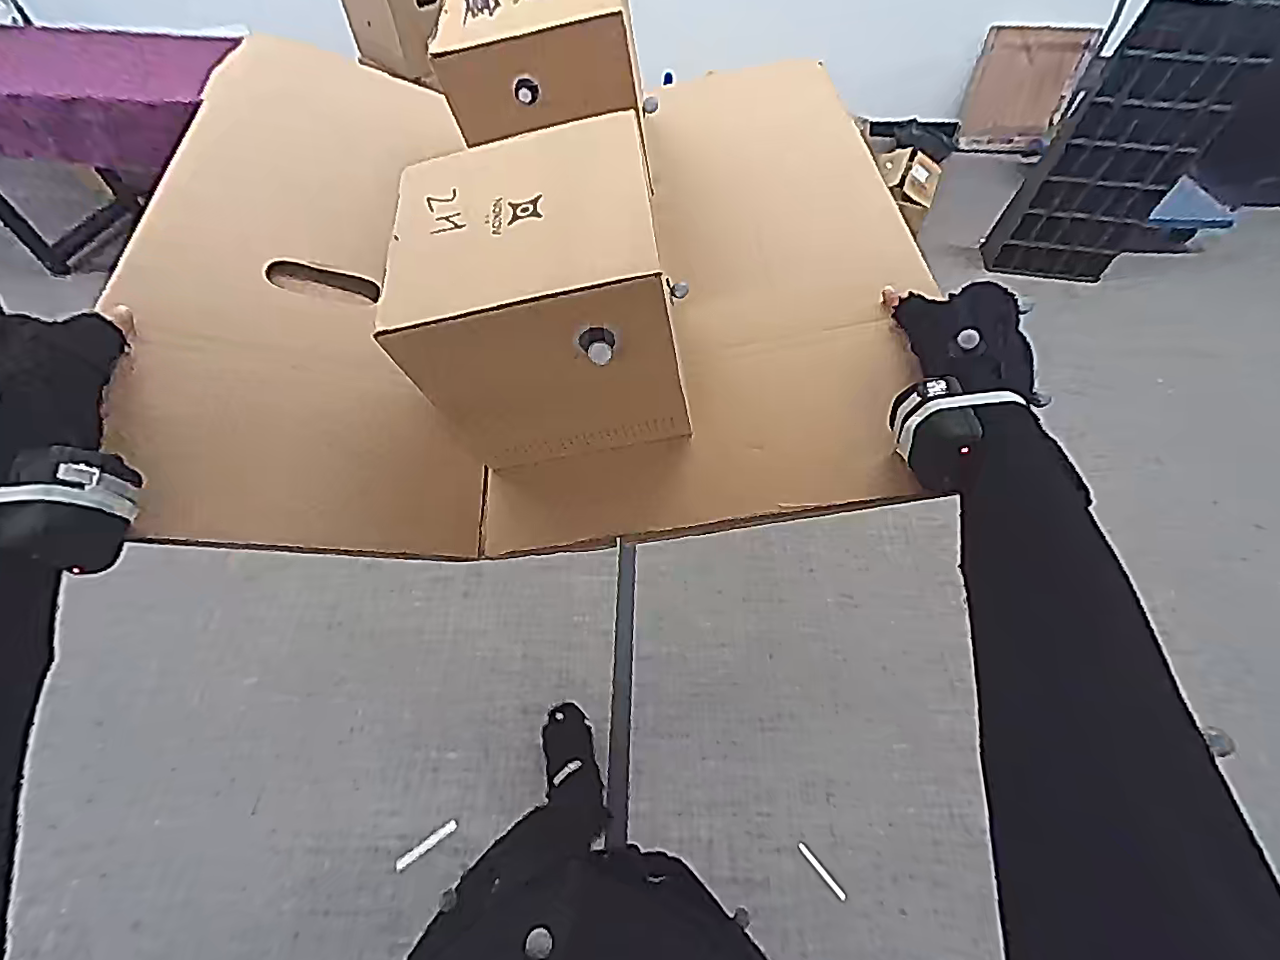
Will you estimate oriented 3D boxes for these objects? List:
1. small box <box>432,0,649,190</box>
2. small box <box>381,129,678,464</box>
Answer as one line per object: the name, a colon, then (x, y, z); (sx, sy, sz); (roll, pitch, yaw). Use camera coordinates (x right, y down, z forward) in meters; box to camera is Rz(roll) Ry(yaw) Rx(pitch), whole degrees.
small box: (-0.092, -0.407, 0.582); (0.179, 0.176, 0.168); (-7, 62, 8)
small box: (-0.068, -0.131, 0.431); (0.179, 0.176, 0.168); (-10, 61, 8)
